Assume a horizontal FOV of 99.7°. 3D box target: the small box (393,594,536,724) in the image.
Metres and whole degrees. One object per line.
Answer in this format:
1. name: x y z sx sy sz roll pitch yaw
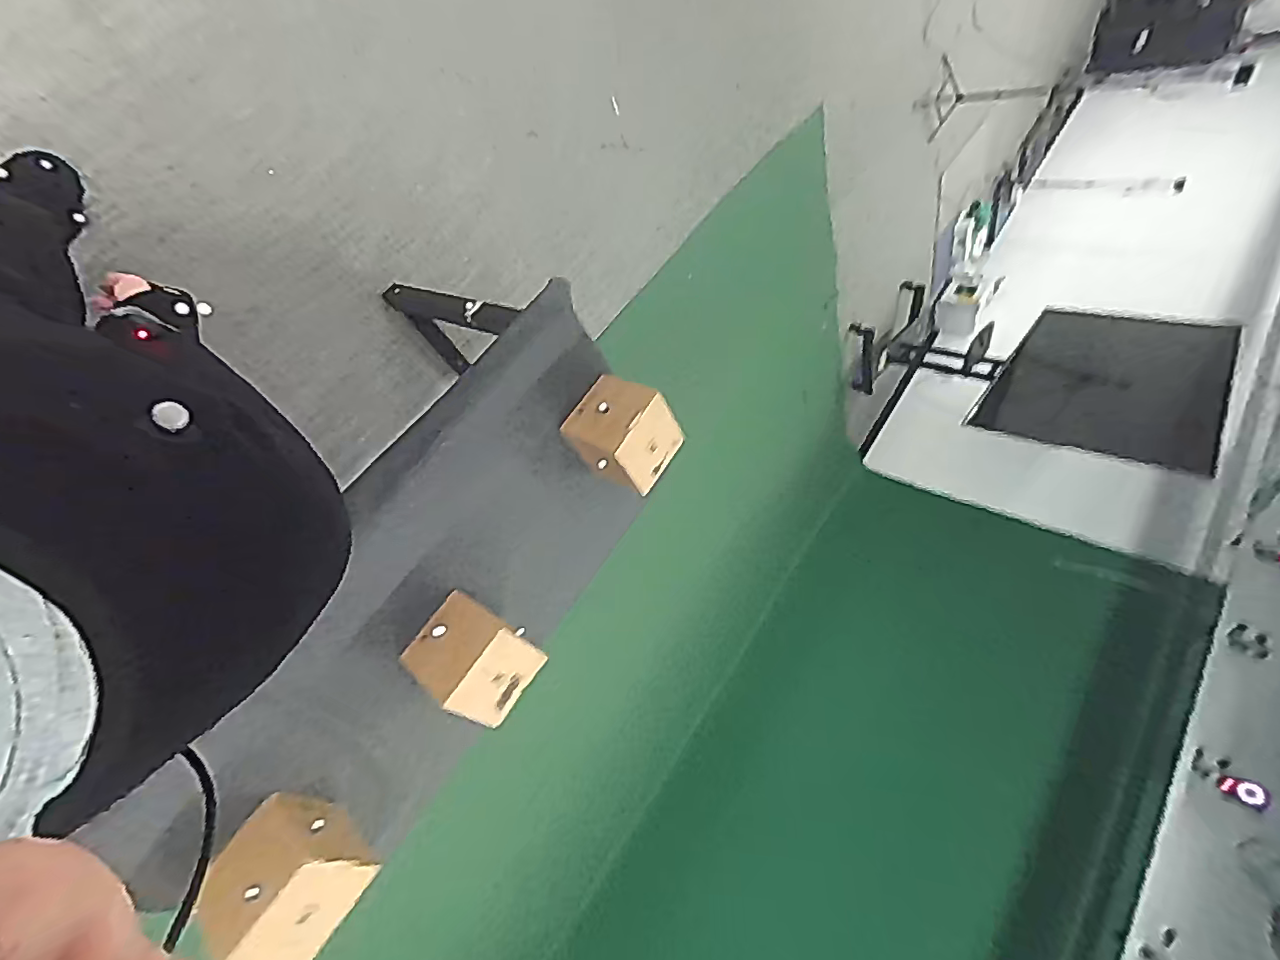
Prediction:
1. small box: -0.353 0.357 1.096 0.168 0.176 0.179 -54 142 -18

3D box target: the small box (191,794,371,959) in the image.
1. small box: -0.616 0.678 0.929 0.179 0.176 0.168 -52 141 -19

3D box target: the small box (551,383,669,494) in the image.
1. small box: -0.068 -0.099 1.217 0.168 0.176 0.179 -55 143 -16
